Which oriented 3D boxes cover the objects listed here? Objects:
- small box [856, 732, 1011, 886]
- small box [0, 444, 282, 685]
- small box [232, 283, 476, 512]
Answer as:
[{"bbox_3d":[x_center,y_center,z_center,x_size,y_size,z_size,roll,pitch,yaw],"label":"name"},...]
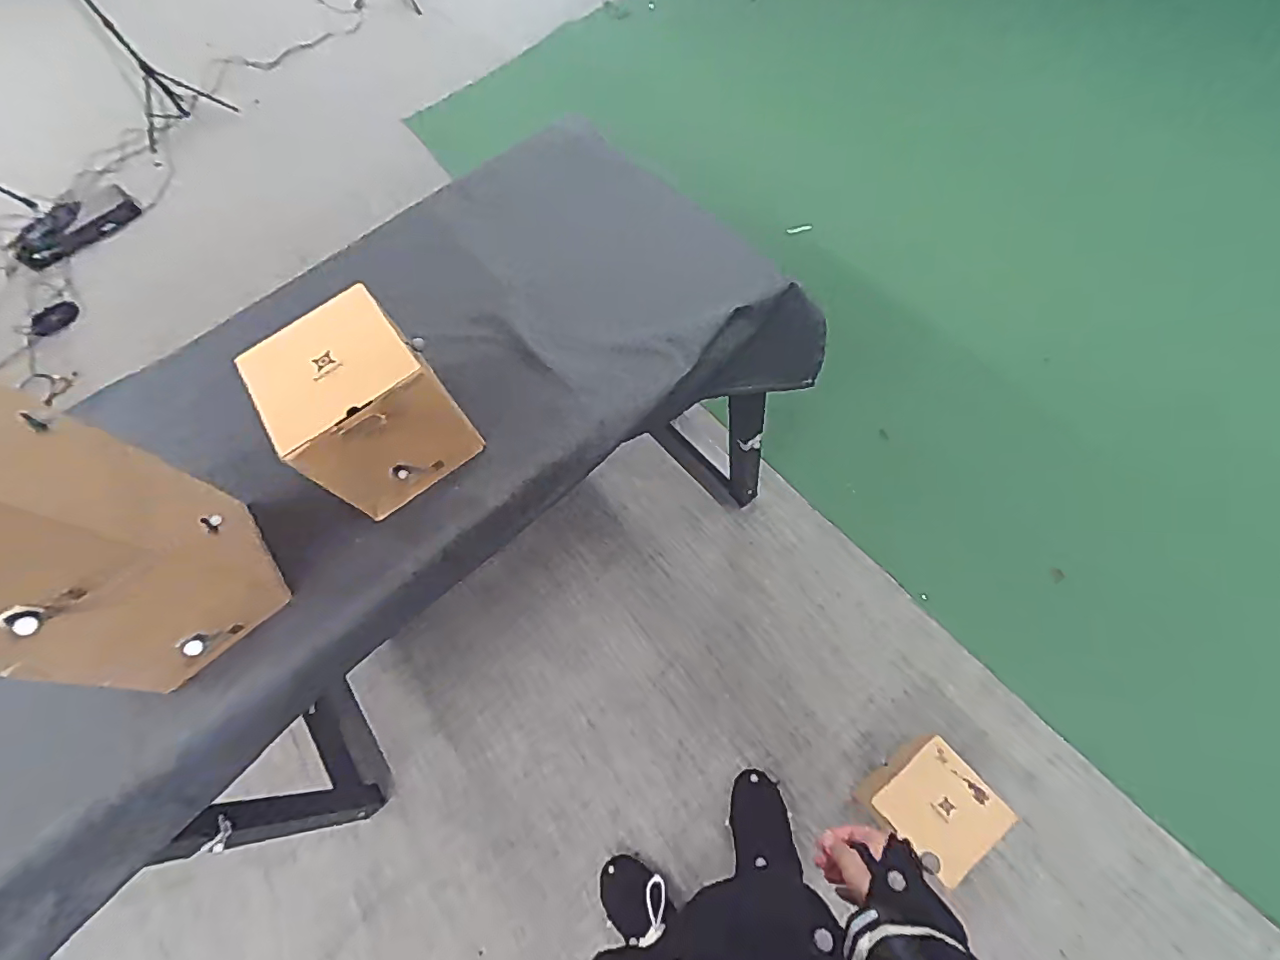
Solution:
[{"bbox_3d":[0.524,0.594,0.998,0.179,0.176,0.168,-38,64,-9],"label":"small box"},{"bbox_3d":[-0.545,0.100,0.590,0.168,0.176,0.179,-40,65,-11],"label":"small box"},{"bbox_3d":[-0.331,-0.092,0.652,0.168,0.176,0.179,-37,65,-10],"label":"small box"}]
